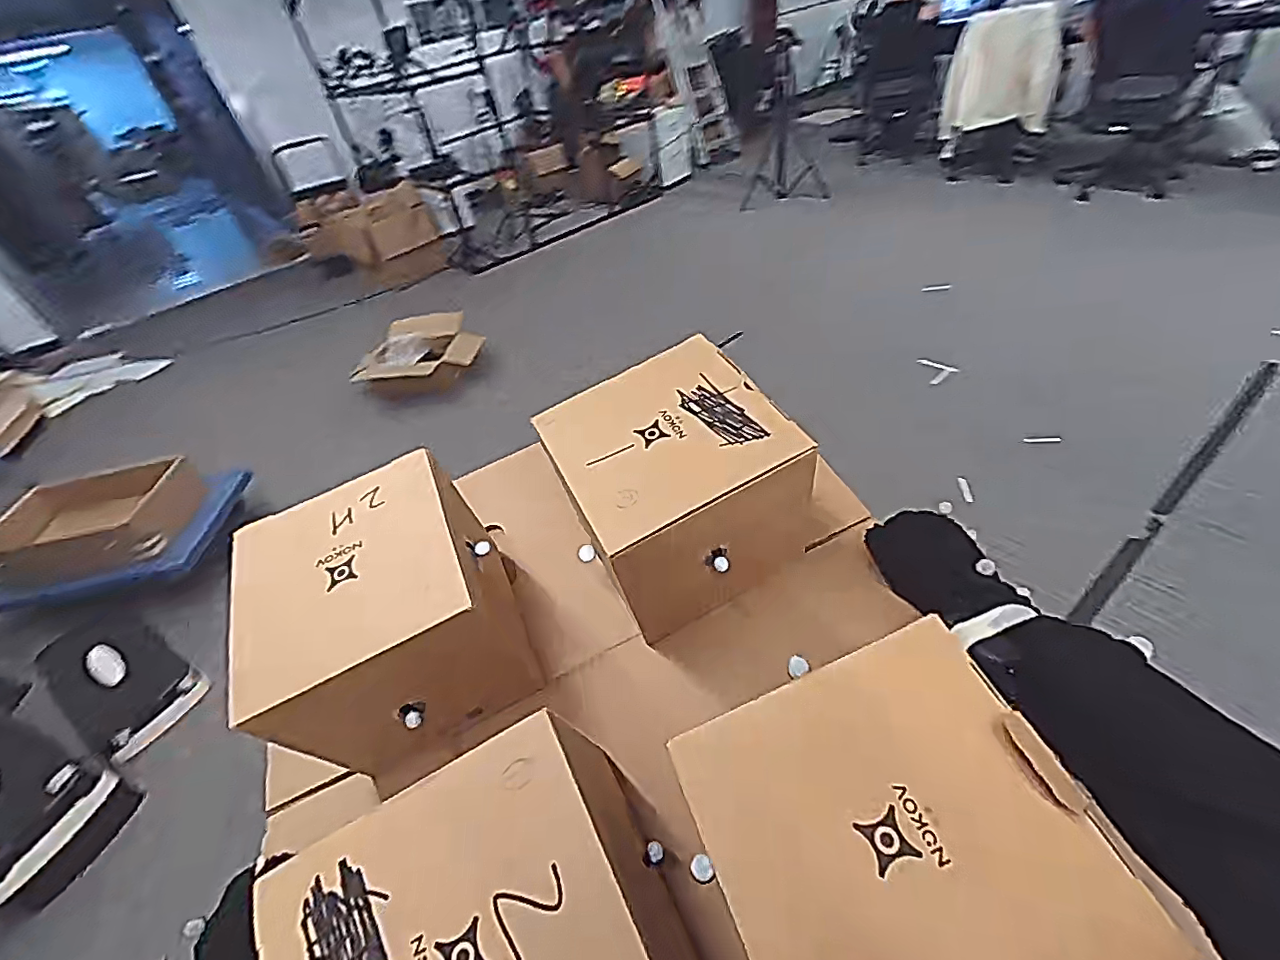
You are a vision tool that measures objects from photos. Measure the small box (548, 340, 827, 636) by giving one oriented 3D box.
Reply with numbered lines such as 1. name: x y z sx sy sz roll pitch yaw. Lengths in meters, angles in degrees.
1. small box: 0.042 0.011 0.495 0.179 0.176 0.168 -27 52 -7

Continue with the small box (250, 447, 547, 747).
1. small box: -0.198 0.110 0.474 0.168 0.176 0.179 -25 51 -7
